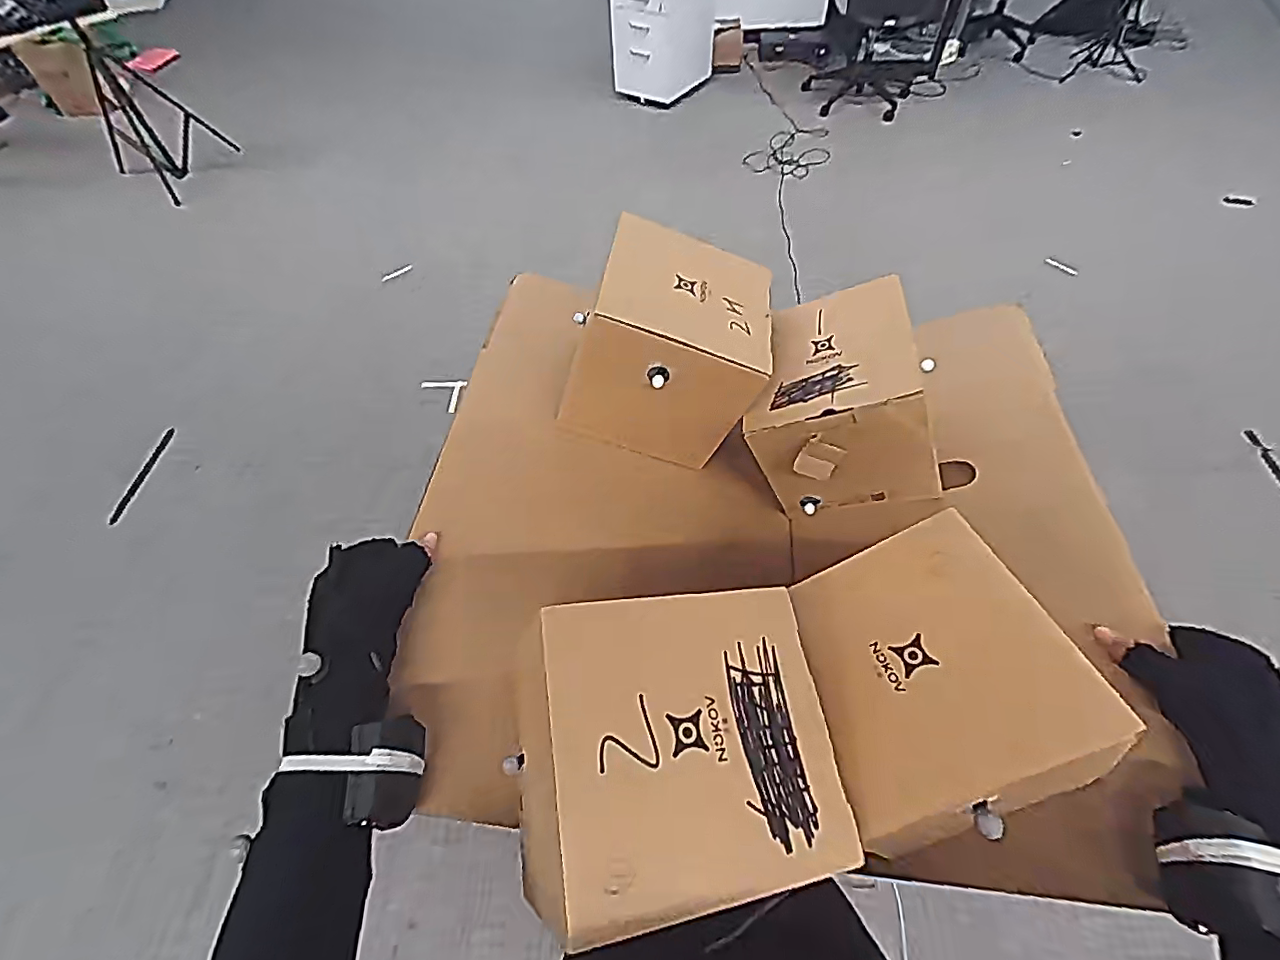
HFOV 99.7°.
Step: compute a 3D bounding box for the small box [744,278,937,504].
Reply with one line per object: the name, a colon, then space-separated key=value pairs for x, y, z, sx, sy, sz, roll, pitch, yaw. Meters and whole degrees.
small box: x=0.227 y=-0.086 z=0.614 sx=0.168 sy=0.176 sz=0.179 roll=-11 pitch=49 yaw=28
